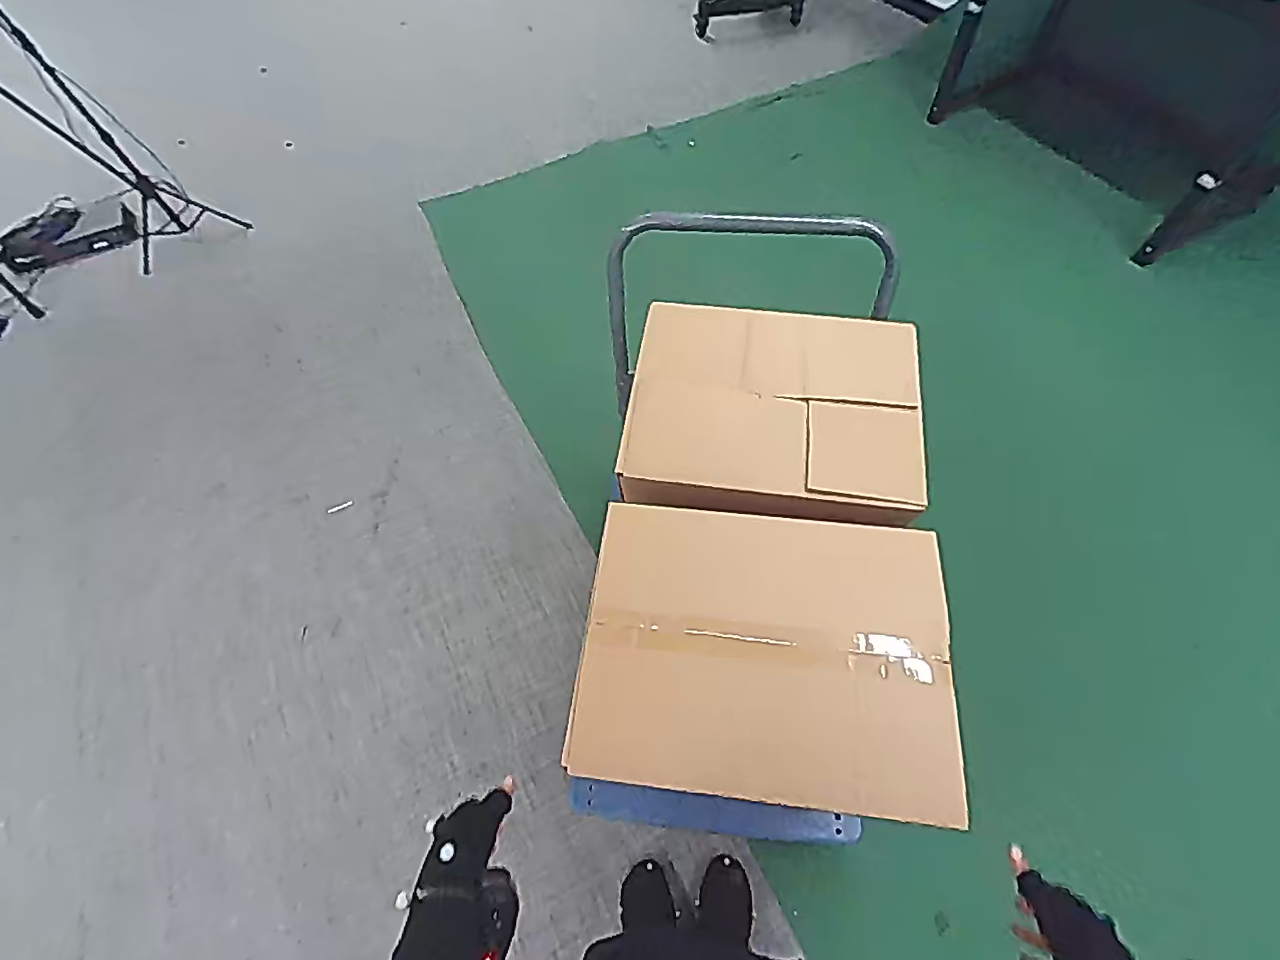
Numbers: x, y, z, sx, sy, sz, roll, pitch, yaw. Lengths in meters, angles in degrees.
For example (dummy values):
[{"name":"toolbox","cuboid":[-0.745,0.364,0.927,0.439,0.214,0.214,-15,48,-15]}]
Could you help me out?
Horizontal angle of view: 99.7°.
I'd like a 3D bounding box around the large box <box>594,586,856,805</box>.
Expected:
[{"name":"large box","cuboid":[0.152,0.415,1.023,0.408,0.320,0.320,4,58,7]}]
